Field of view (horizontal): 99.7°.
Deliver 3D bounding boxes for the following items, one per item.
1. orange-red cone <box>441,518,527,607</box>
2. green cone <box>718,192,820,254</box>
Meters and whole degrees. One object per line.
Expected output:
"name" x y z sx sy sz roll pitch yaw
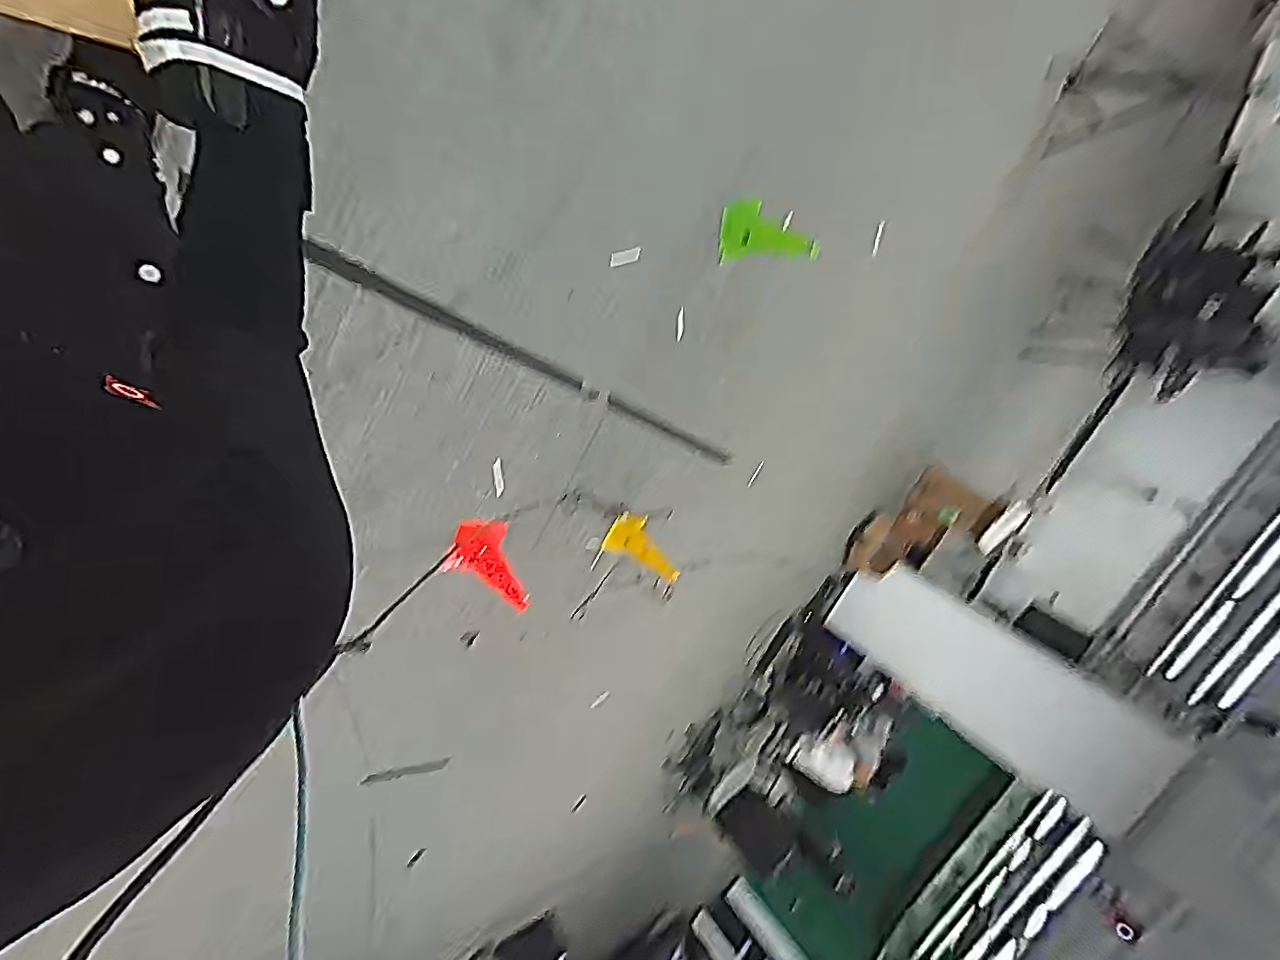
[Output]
"orange-red cone" -0.495 0.310 1.864 0.199 0.360 0.198 13 111 -52
"green cone" 0.477 -0.880 1.916 0.200 0.368 0.202 -26 134 -31
